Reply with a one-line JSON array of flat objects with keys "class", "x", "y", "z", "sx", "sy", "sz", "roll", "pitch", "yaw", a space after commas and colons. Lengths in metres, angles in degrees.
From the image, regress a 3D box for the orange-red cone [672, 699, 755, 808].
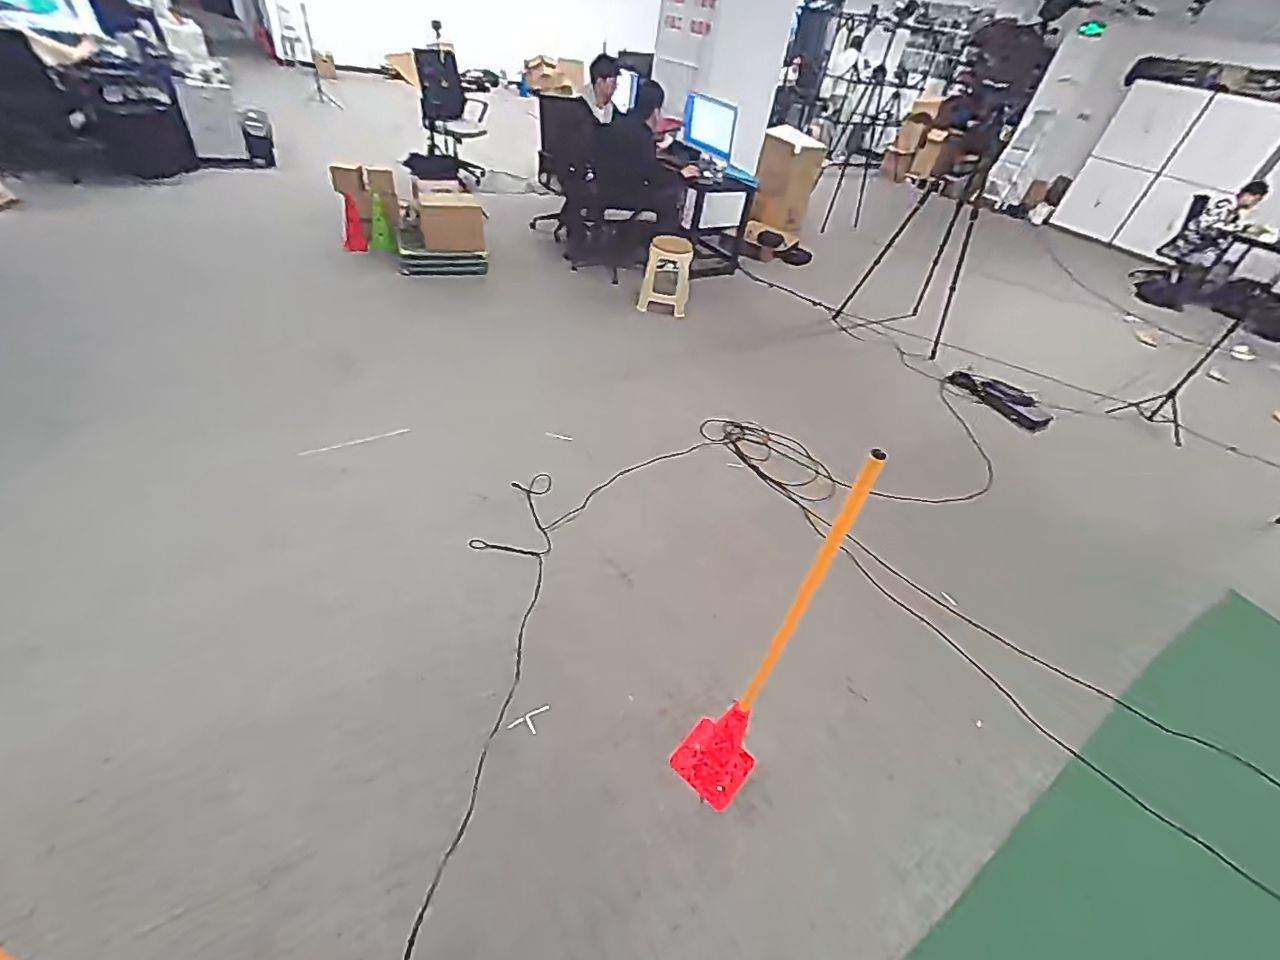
[{"class": "orange-red cone", "x": 0.243, "y": 0.706, "z": 1.493, "sx": 0.198, "sy": 0.360, "sz": 0.199, "roll": 36, "pitch": 46, "yaw": 26}]
